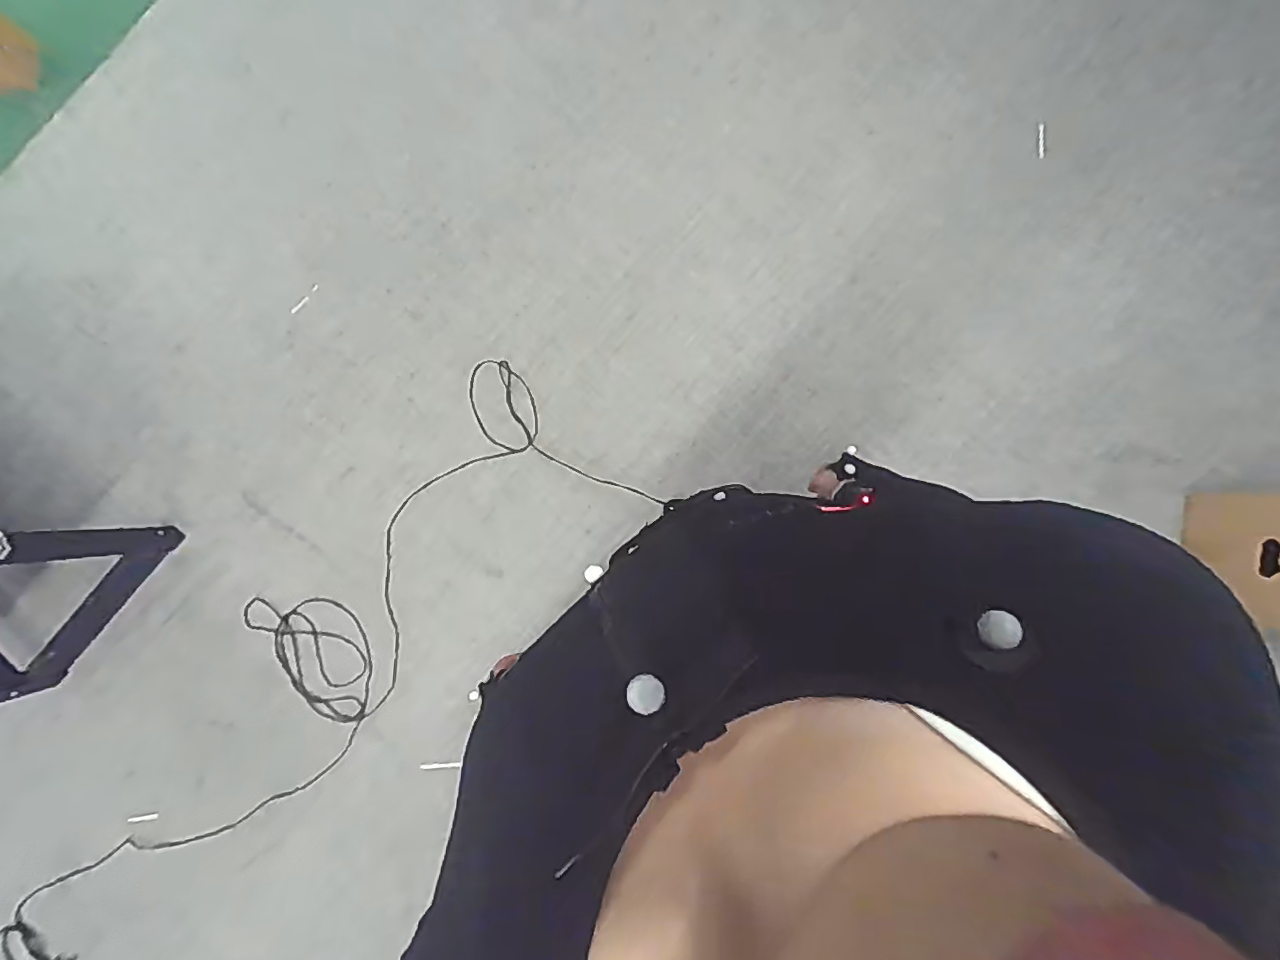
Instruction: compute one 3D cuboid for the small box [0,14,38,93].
[{"bbox_3d":[-1.932,-1.274,1.583,0.179,0.176,0.168,-3,87,3],"label":"small box"}]
